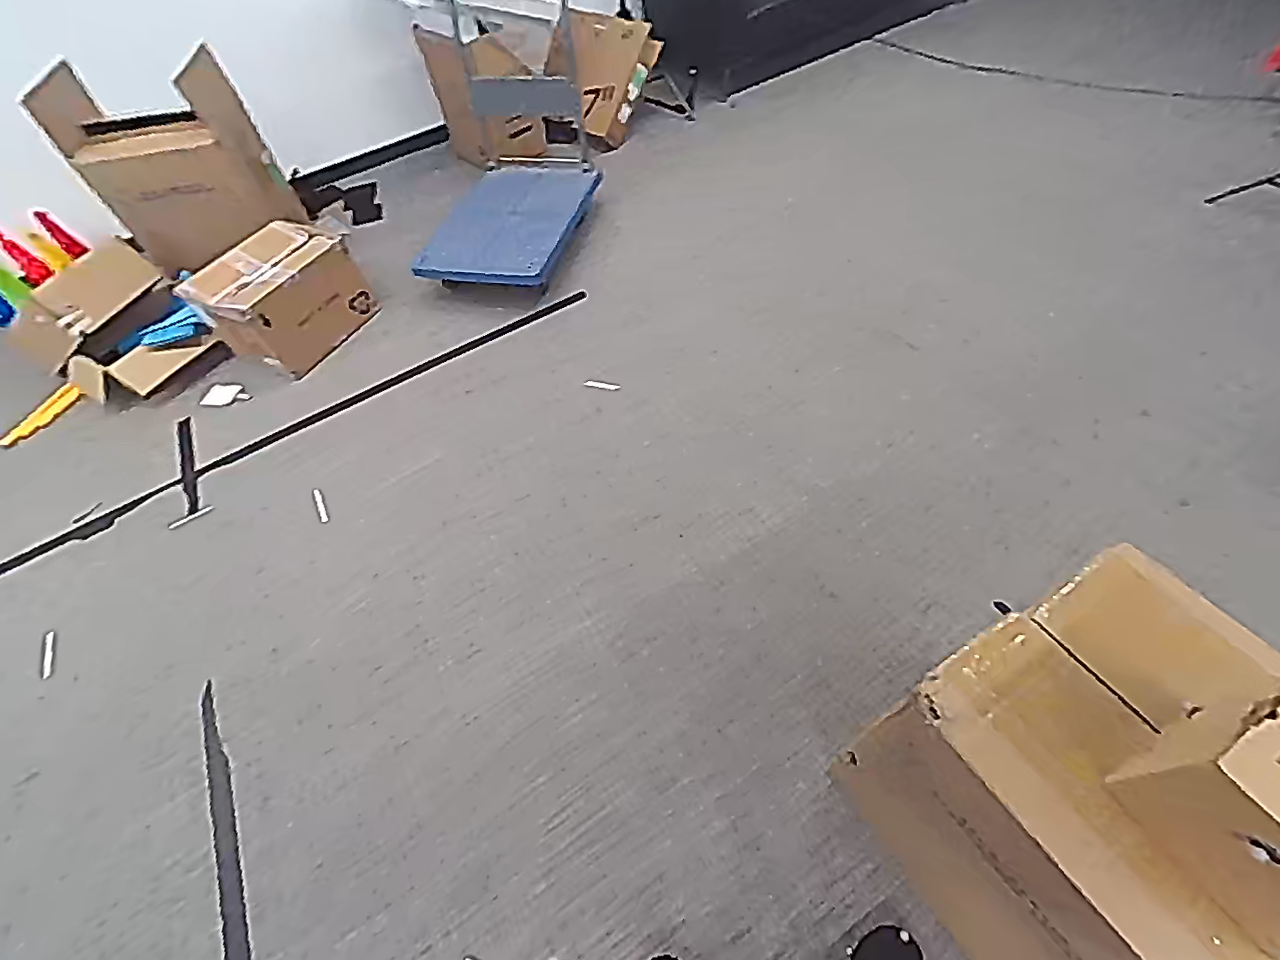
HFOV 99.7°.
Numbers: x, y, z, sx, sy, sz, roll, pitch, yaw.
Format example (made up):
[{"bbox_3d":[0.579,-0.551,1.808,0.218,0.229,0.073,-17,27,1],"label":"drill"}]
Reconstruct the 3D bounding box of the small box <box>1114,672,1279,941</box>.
[{"bbox_3d":[0.623,0.308,0.512,0.168,0.176,0.179,-28,56,-12],"label":"small box"}]
